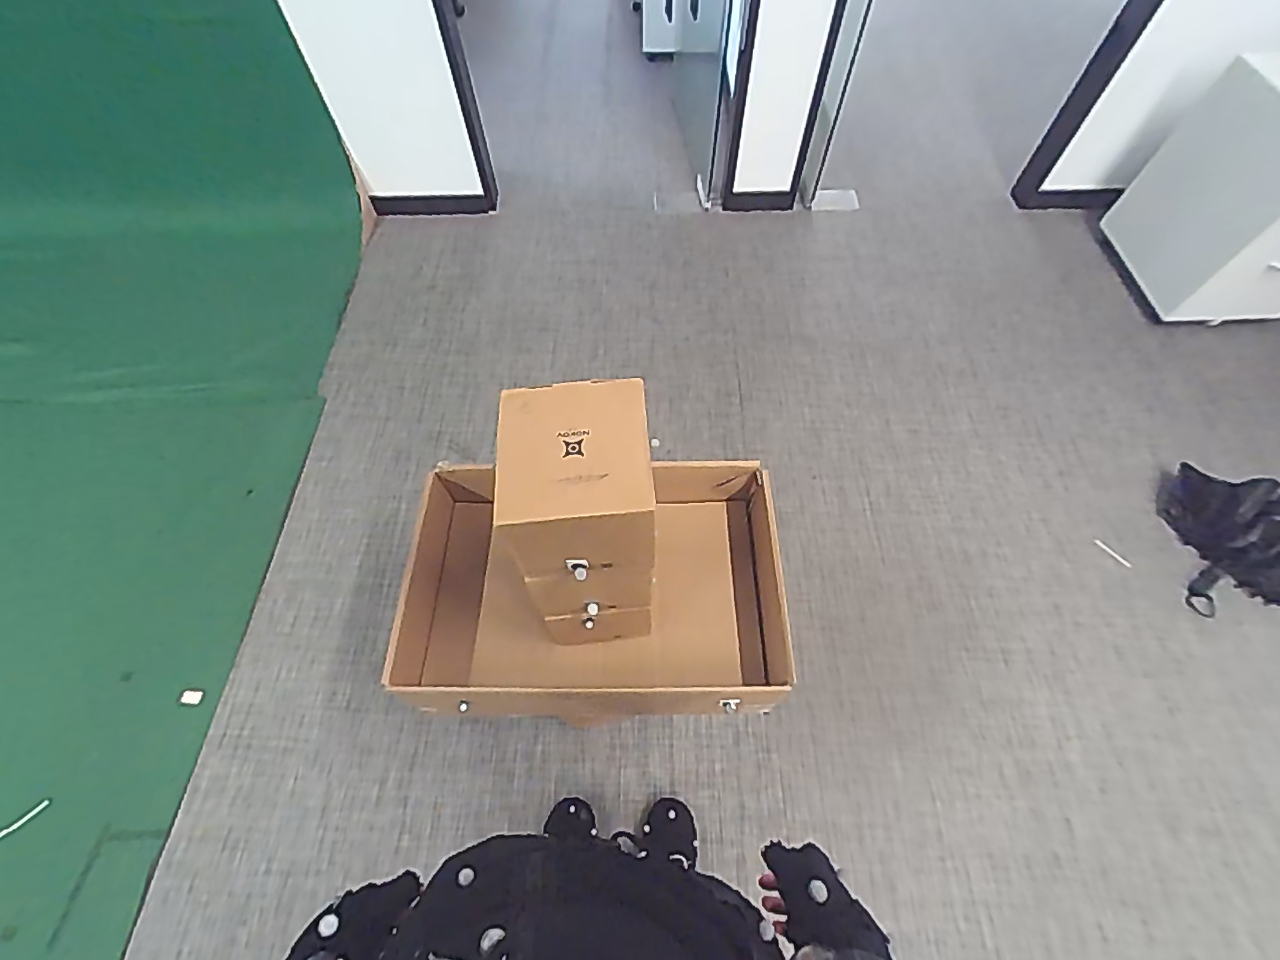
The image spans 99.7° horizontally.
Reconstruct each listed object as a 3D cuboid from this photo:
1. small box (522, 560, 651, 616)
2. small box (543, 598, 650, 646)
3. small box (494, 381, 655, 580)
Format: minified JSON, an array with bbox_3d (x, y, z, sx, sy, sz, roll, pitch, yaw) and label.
[{"bbox_3d":[-0.075,0.086,0.796,0.168,0.176,0.179,-5,61,-2],"label":"small box"},{"bbox_3d":[-0.074,0.171,0.936,0.168,0.176,0.179,-7,59,-2],"label":"small box"},{"bbox_3d":[-0.071,0.006,0.656,0.168,0.176,0.179,-6,61,-1],"label":"small box"}]
